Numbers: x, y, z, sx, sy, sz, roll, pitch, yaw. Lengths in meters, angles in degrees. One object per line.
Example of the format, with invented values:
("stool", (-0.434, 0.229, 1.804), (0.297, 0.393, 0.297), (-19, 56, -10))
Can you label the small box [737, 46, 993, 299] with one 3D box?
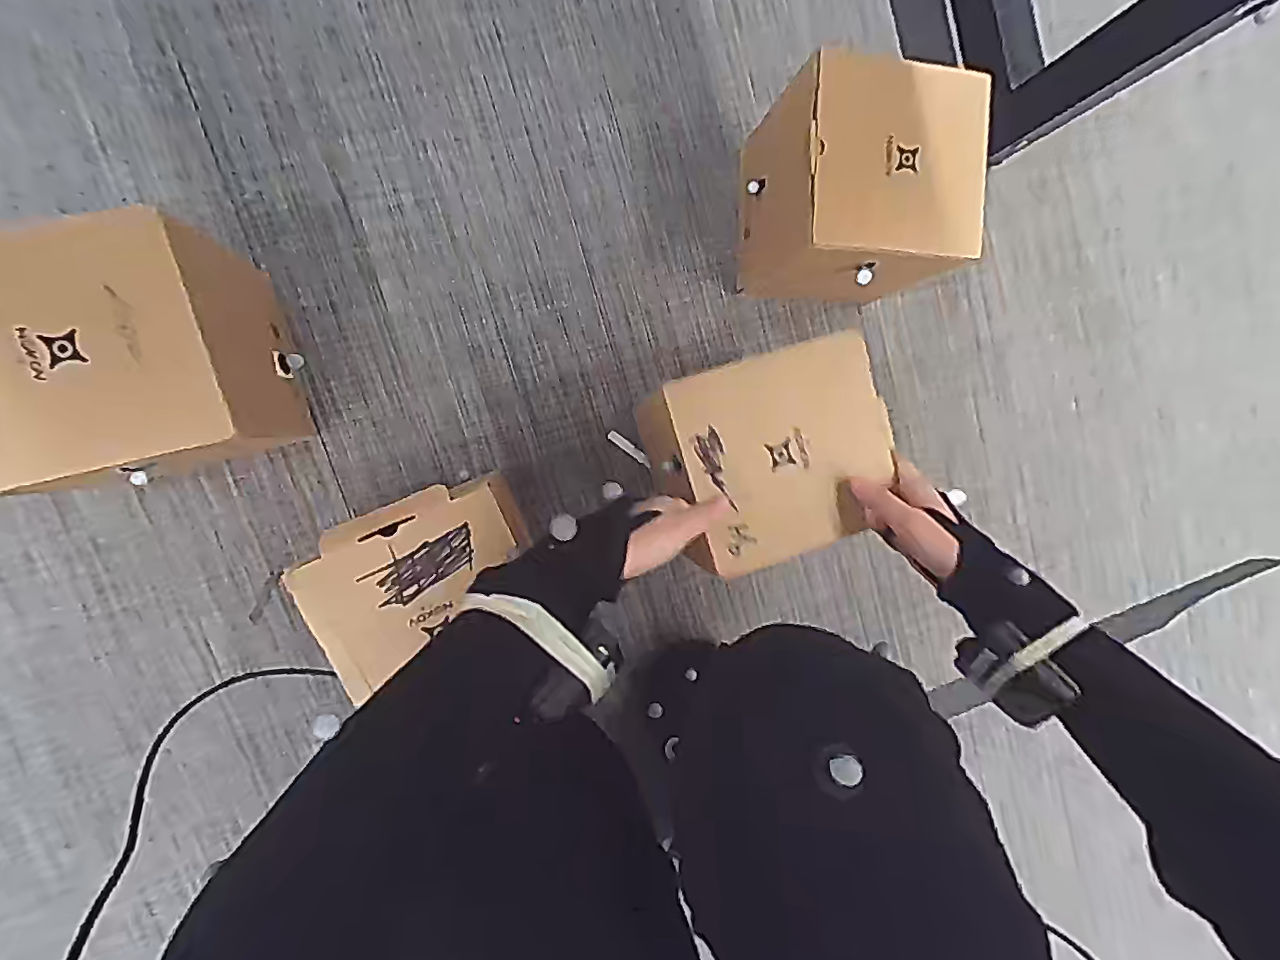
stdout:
("small box", (0.215, -0.290, 0.554), (0.179, 0.176, 0.168), (0, 95, -11))

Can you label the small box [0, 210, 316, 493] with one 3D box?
("small box", (-0.405, -0.091, 0.439), (0.179, 0.176, 0.168), (-15, 98, -11))
